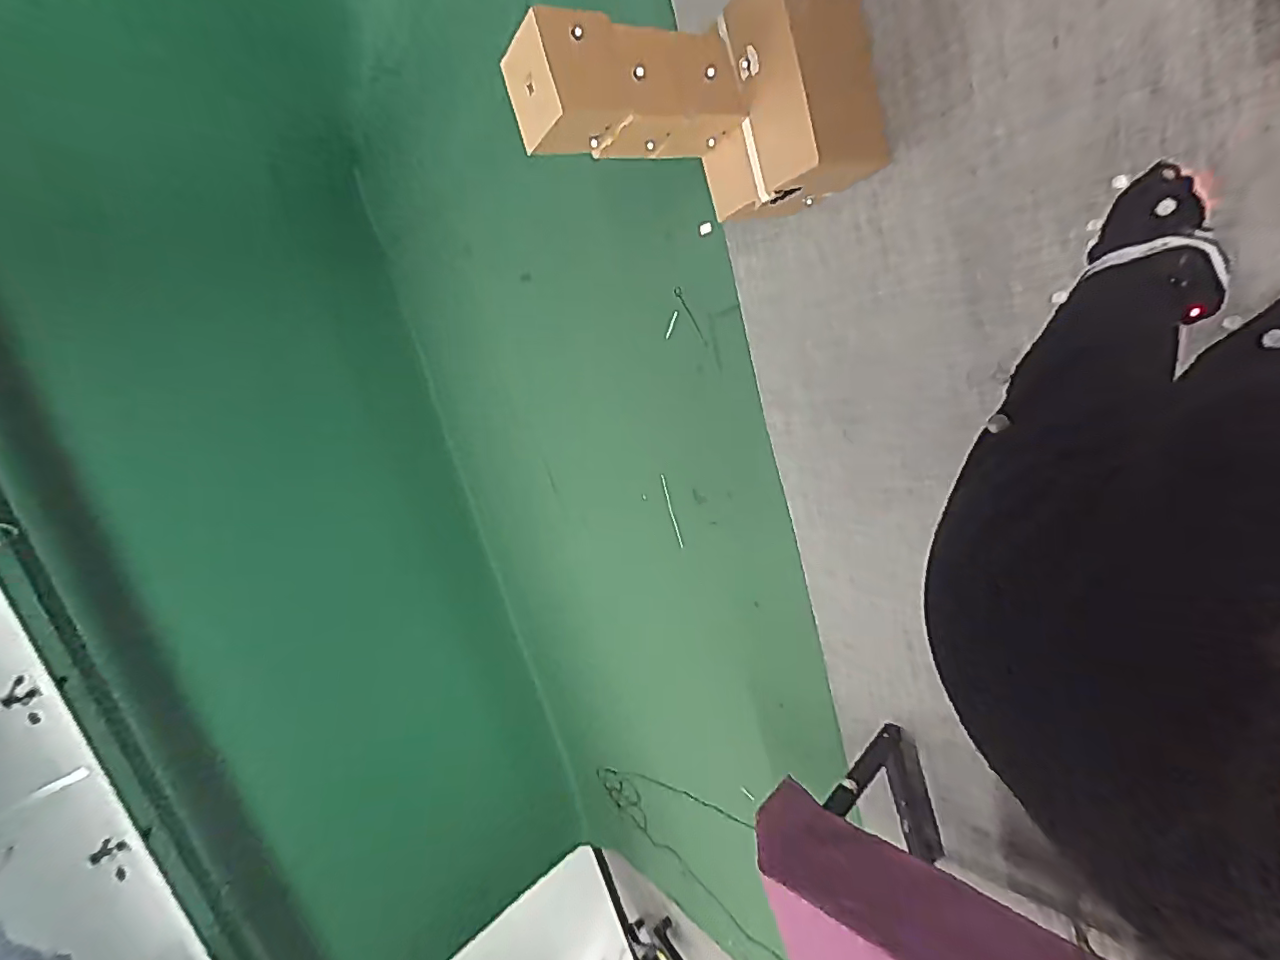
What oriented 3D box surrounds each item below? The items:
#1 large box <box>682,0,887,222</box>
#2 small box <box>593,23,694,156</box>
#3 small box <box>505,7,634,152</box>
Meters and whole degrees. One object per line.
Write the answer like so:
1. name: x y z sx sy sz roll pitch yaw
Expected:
1. large box: 0.361 -0.908 1.341 0.320 0.320 0.408 -2 107 53
2. small box: -0.012 -0.827 1.165 0.168 0.176 0.179 -1 109 56
3. small box: -0.137 -0.779 1.072 0.168 0.176 0.179 2 113 56
